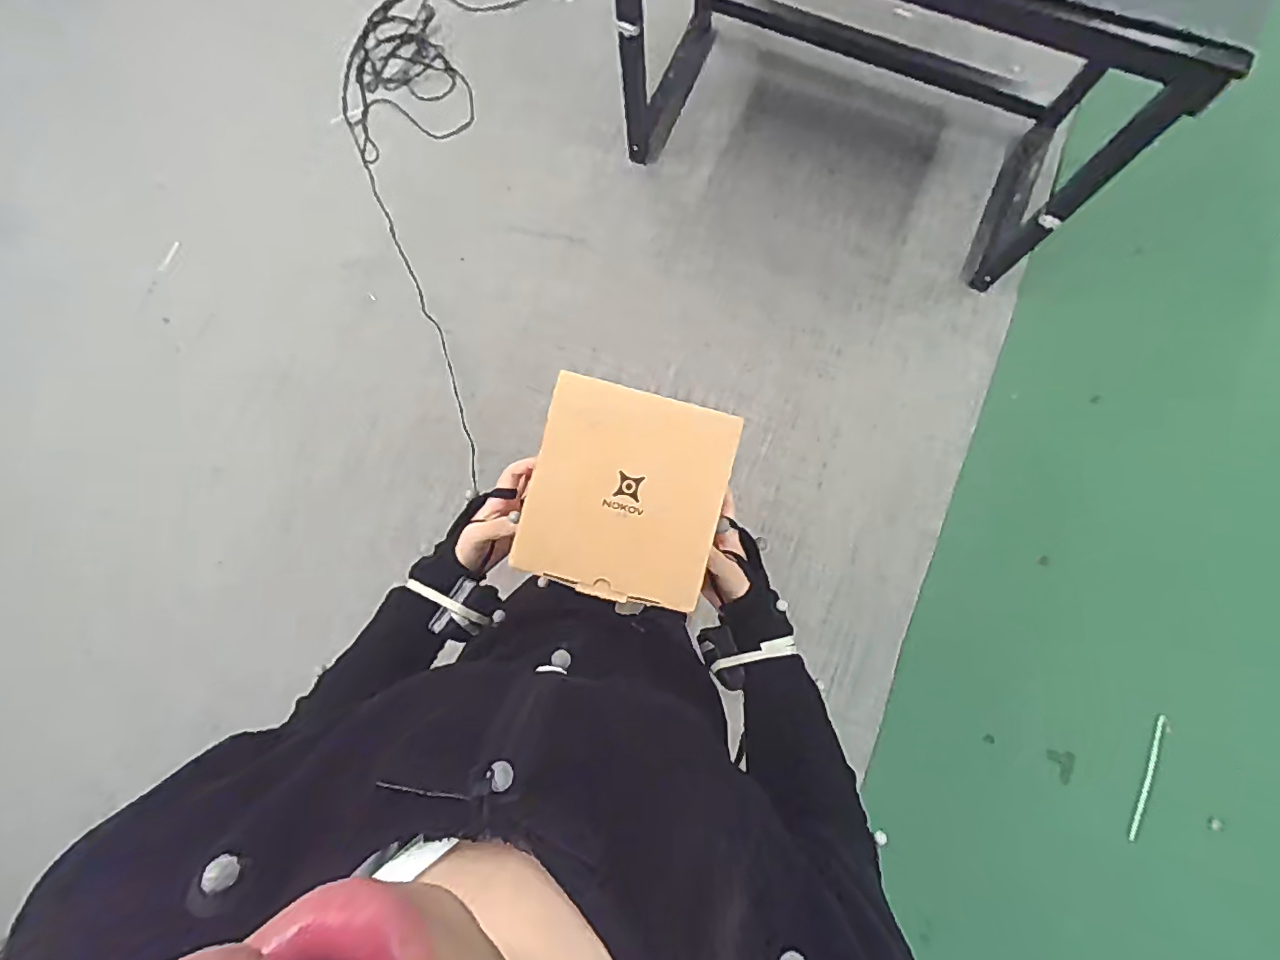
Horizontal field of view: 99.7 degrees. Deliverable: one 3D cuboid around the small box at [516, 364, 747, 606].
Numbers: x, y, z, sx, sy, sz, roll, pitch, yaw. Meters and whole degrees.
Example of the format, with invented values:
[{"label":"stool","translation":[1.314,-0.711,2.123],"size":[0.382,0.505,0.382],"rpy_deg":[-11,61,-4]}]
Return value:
[{"label":"small box","translation":[-0.010,0.005,0.535],"size":[0.168,0.176,0.179],"rpy_deg":[13,89,-2]}]
